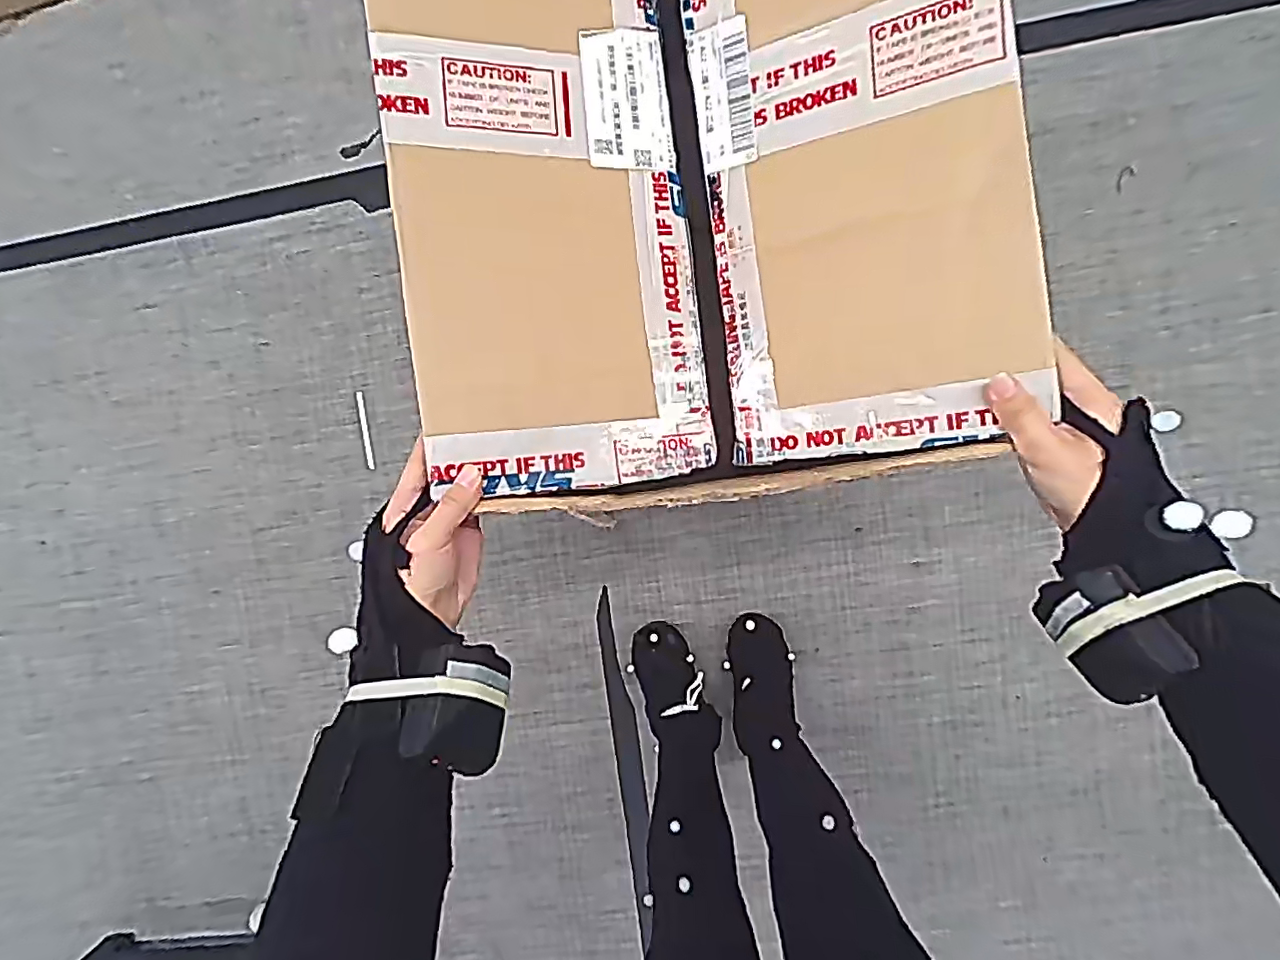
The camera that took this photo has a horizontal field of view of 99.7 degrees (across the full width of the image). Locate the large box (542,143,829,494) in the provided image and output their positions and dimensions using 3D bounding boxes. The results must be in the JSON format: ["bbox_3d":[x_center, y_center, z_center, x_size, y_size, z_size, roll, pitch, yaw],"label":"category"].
[{"bbox_3d":[0.066,-0.213,0.840,0.320,0.320,0.408,-9,94,5],"label":"large box"}]
